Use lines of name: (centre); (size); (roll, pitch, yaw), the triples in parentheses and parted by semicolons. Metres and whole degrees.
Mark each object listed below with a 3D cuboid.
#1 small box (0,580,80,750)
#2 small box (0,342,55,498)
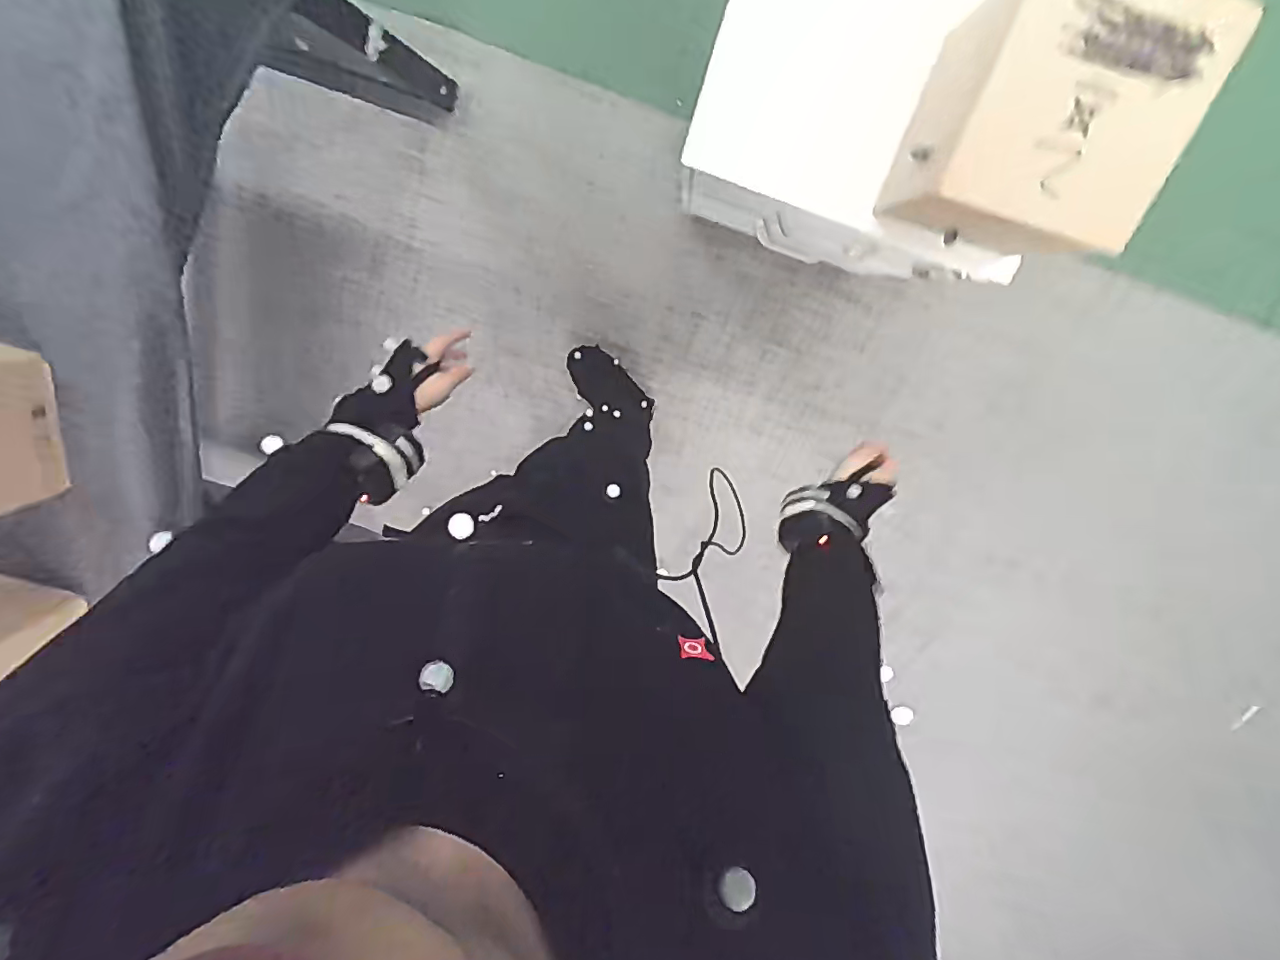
small box: (-0.837, 0.228, 0.650); (0.179, 0.176, 0.168); (14, 112, -1)
small box: (-0.751, -0.059, 0.528); (0.179, 0.176, 0.168); (16, 112, -2)
